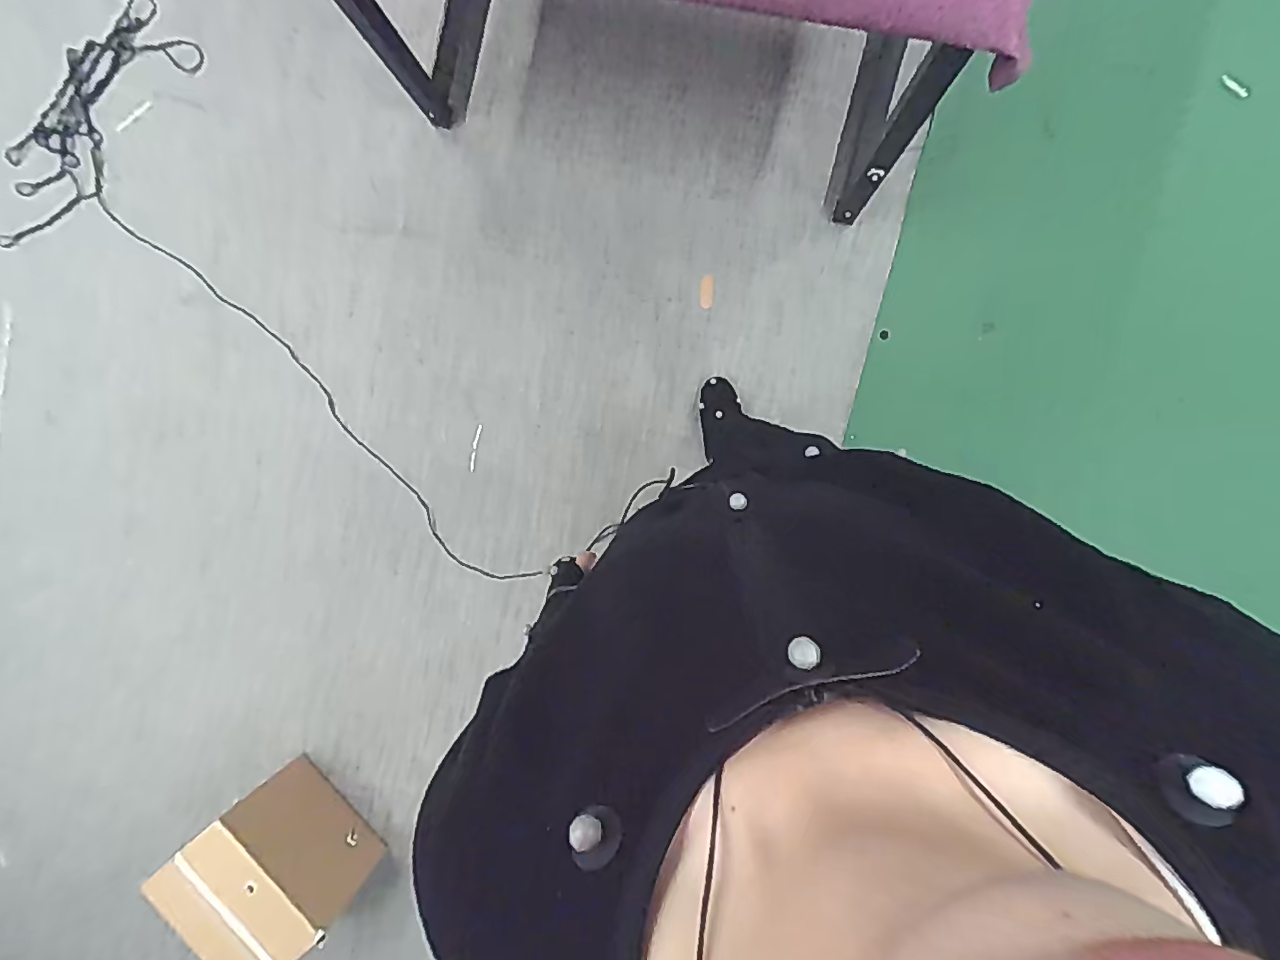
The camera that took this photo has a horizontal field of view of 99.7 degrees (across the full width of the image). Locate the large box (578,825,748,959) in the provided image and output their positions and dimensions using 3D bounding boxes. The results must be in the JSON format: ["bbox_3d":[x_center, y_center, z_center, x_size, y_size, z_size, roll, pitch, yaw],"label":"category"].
[{"bbox_3d":[0.062,1.156,1.417,0.408,0.320,0.320,0,94,3],"label":"large box"}]
